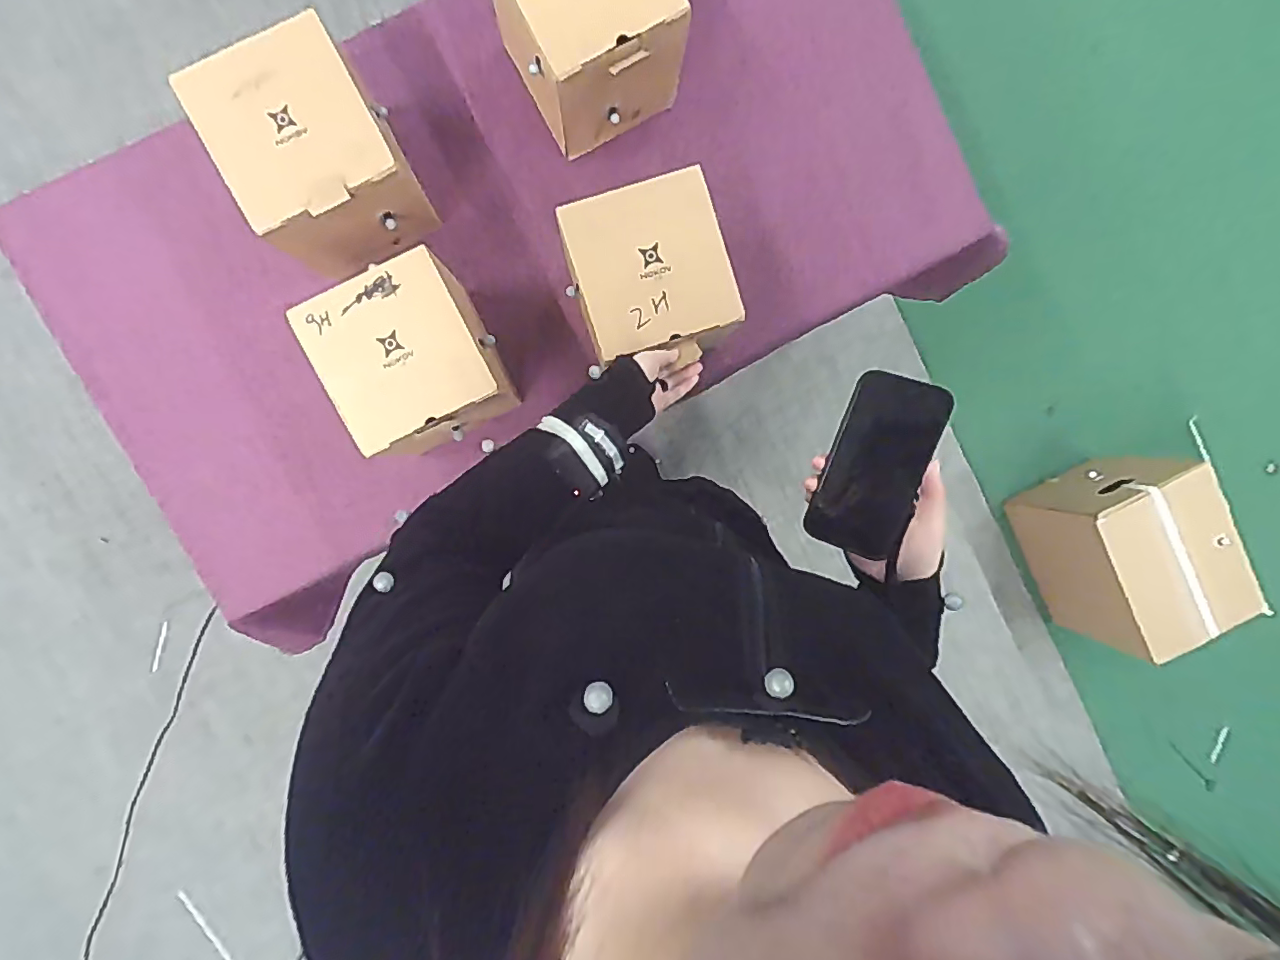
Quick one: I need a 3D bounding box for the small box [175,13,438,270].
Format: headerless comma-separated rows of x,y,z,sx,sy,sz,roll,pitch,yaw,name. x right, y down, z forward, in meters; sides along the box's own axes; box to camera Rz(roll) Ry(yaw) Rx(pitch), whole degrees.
-0.369,-0.372,0.638,0.168,0.176,0.179,-27,95,-2,small box

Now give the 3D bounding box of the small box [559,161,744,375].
0.008,-0.244,0.666,0.168,0.176,0.179,-18,95,-1,small box

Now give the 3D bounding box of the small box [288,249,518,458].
-0.266,-0.142,0.658,0.168,0.176,0.179,-27,95,-2,small box

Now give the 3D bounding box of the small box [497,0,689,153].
-0.064,-0.543,0.643,0.168,0.176,0.179,-30,96,-1,small box
